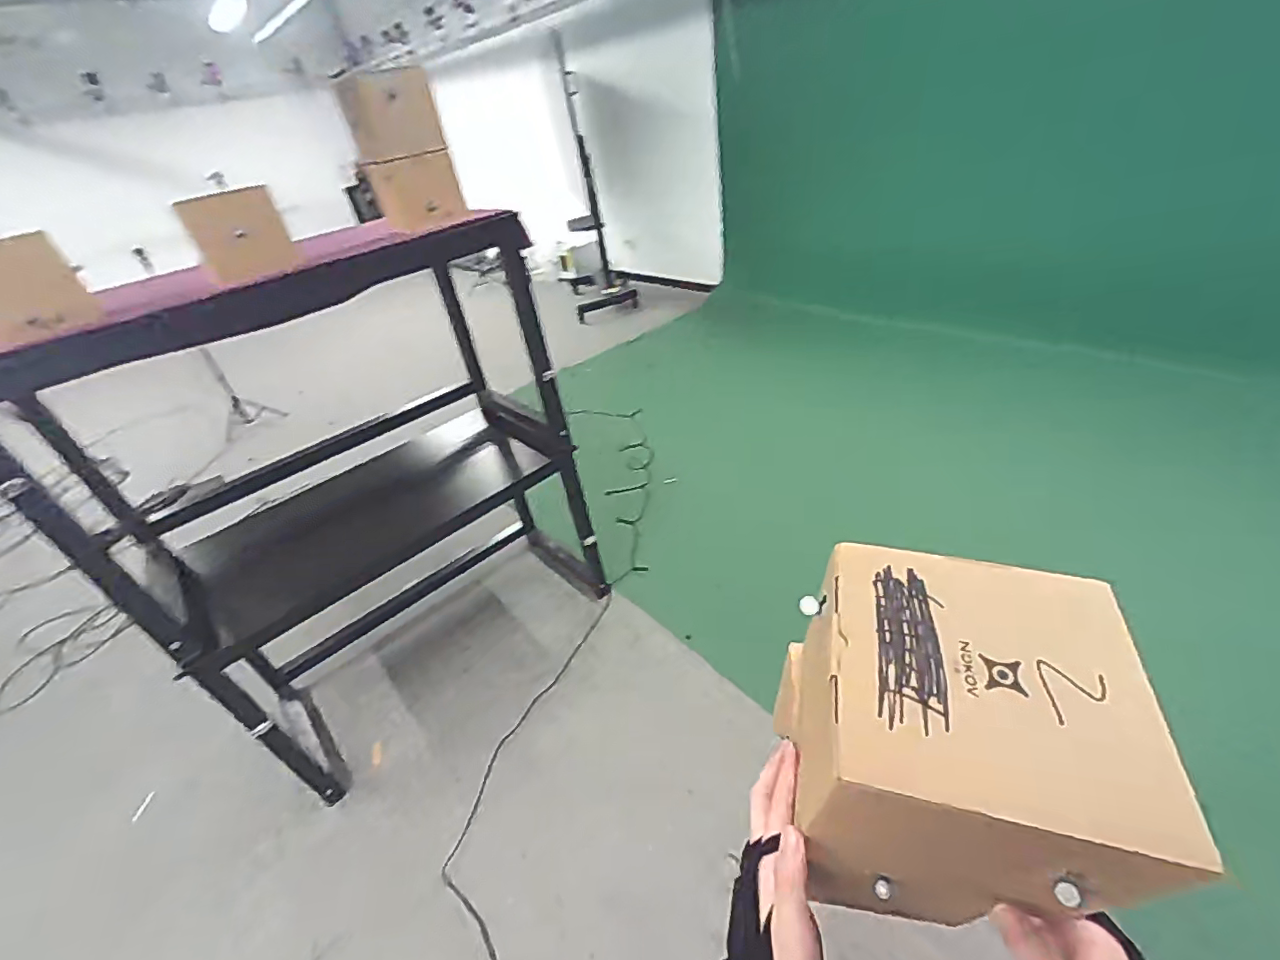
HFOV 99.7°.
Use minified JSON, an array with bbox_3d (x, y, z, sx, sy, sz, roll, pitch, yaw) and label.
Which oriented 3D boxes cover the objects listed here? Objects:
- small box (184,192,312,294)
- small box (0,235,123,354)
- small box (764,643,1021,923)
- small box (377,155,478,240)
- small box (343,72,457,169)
[{"bbox_3d":[-0.864,-0.531,1.205,0.179,0.176,0.168,-33,39,-27],"label":"small box"},{"bbox_3d":[-1.127,-0.351,1.019,0.168,0.176,0.179,-34,41,-30],"label":"small box"},{"bbox_3d":[0.207,0.280,0.506,0.168,0.176,0.179,3,45,10],"label":"small box"},{"bbox_3d":[-0.554,-0.740,1.419,0.168,0.176,0.179,-33,41,-28],"label":"small box"},{"bbox_3d":[-0.578,-0.866,1.316,0.179,0.176,0.168,-33,42,-28],"label":"small box"}]
